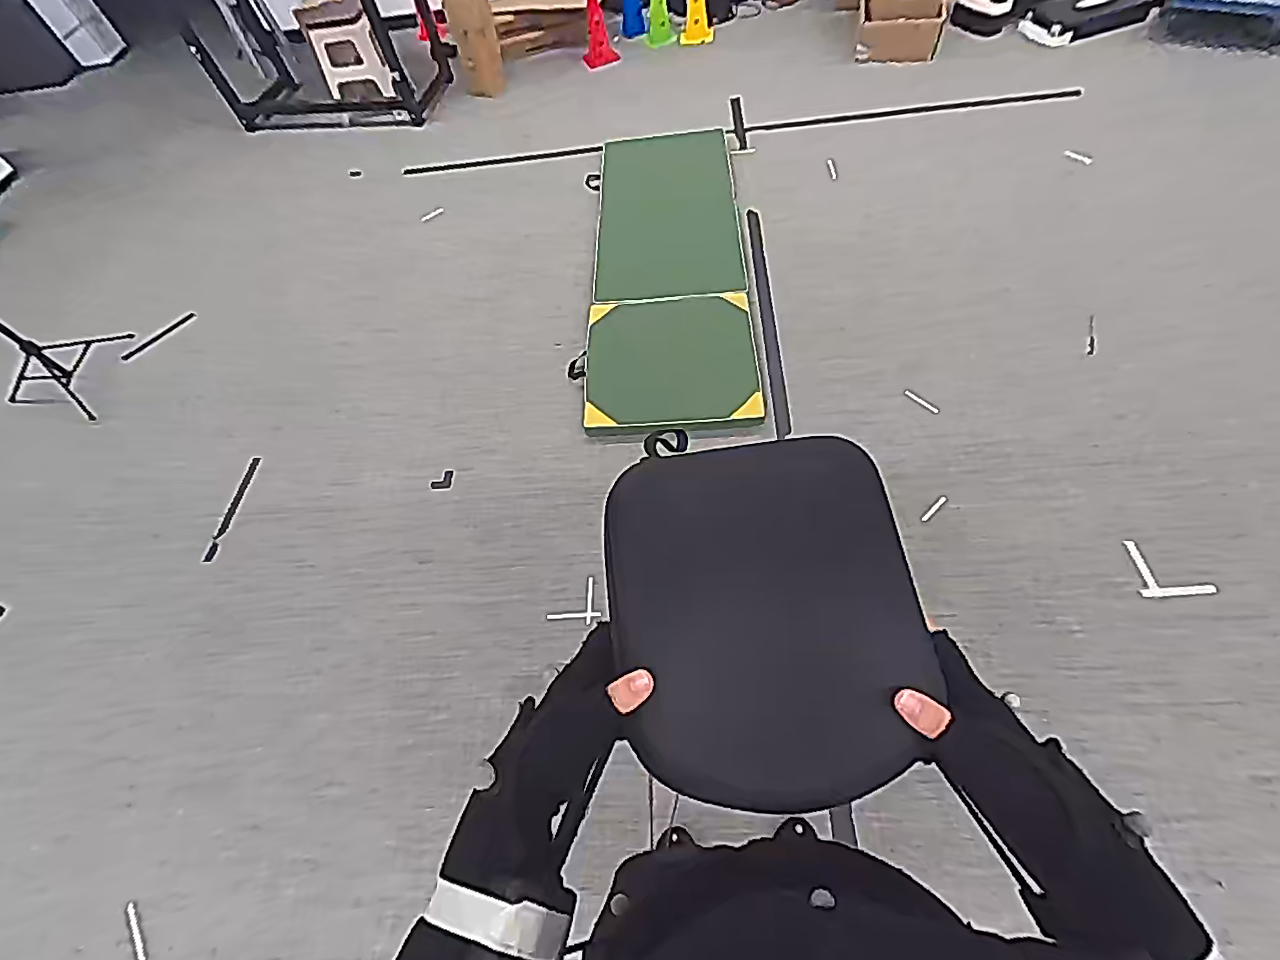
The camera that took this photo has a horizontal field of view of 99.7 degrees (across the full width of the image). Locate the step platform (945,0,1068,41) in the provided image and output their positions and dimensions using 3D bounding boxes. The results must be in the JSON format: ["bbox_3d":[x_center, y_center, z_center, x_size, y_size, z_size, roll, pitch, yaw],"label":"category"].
[{"bbox_3d":[2.054,-2.667,2.971,0.684,0.204,0.286,-29,60,-10],"label":"step platform"}]
